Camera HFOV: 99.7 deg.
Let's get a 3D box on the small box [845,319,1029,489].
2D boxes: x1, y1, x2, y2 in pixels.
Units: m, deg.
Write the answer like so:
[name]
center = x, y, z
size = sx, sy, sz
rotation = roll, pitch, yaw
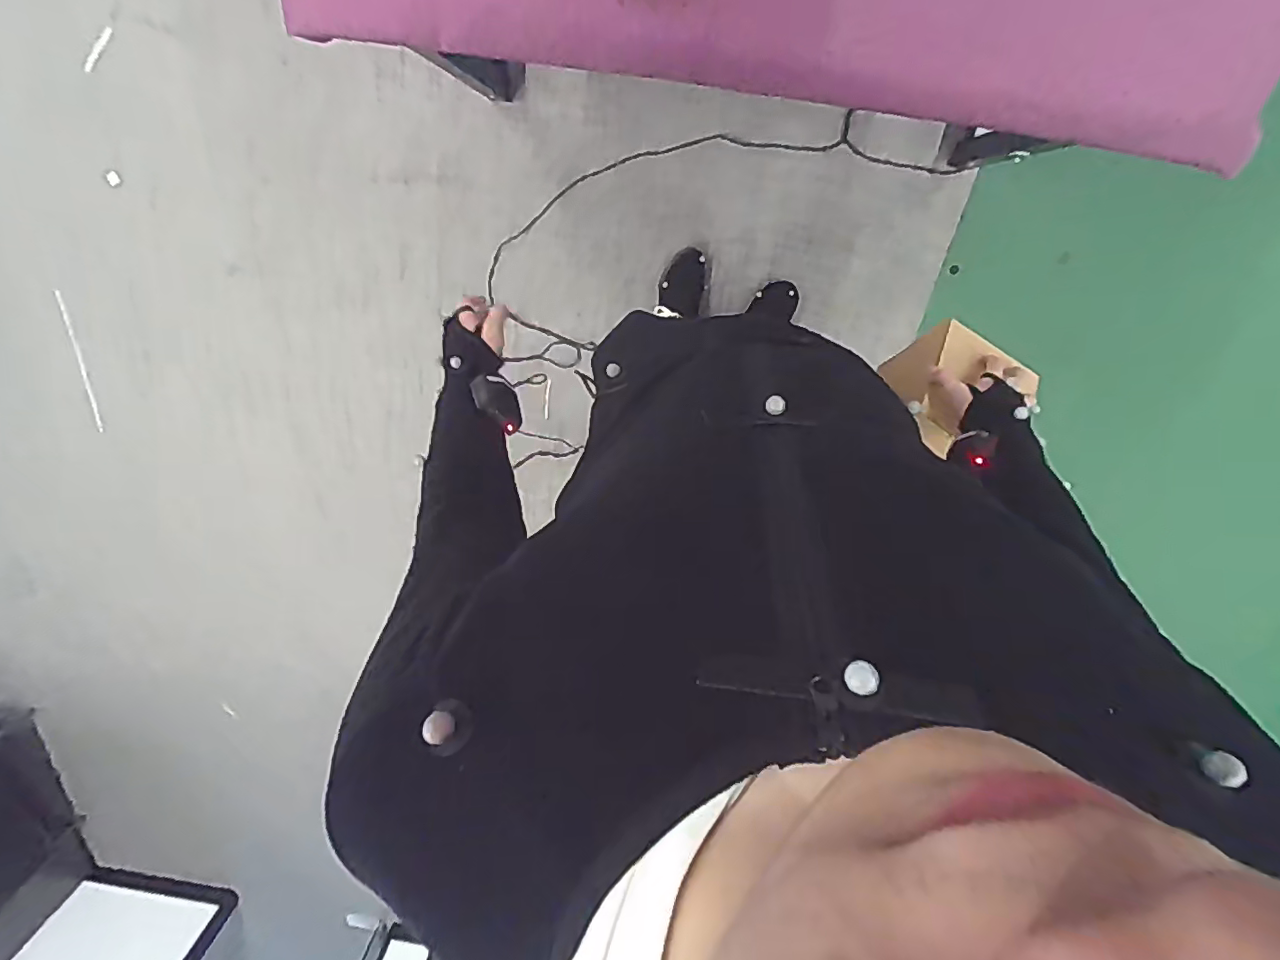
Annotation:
[small box]
center = 0.454, -0.106, 0.847
size = 0.168, 0.176, 0.179
rotation = 31, 71, -7
